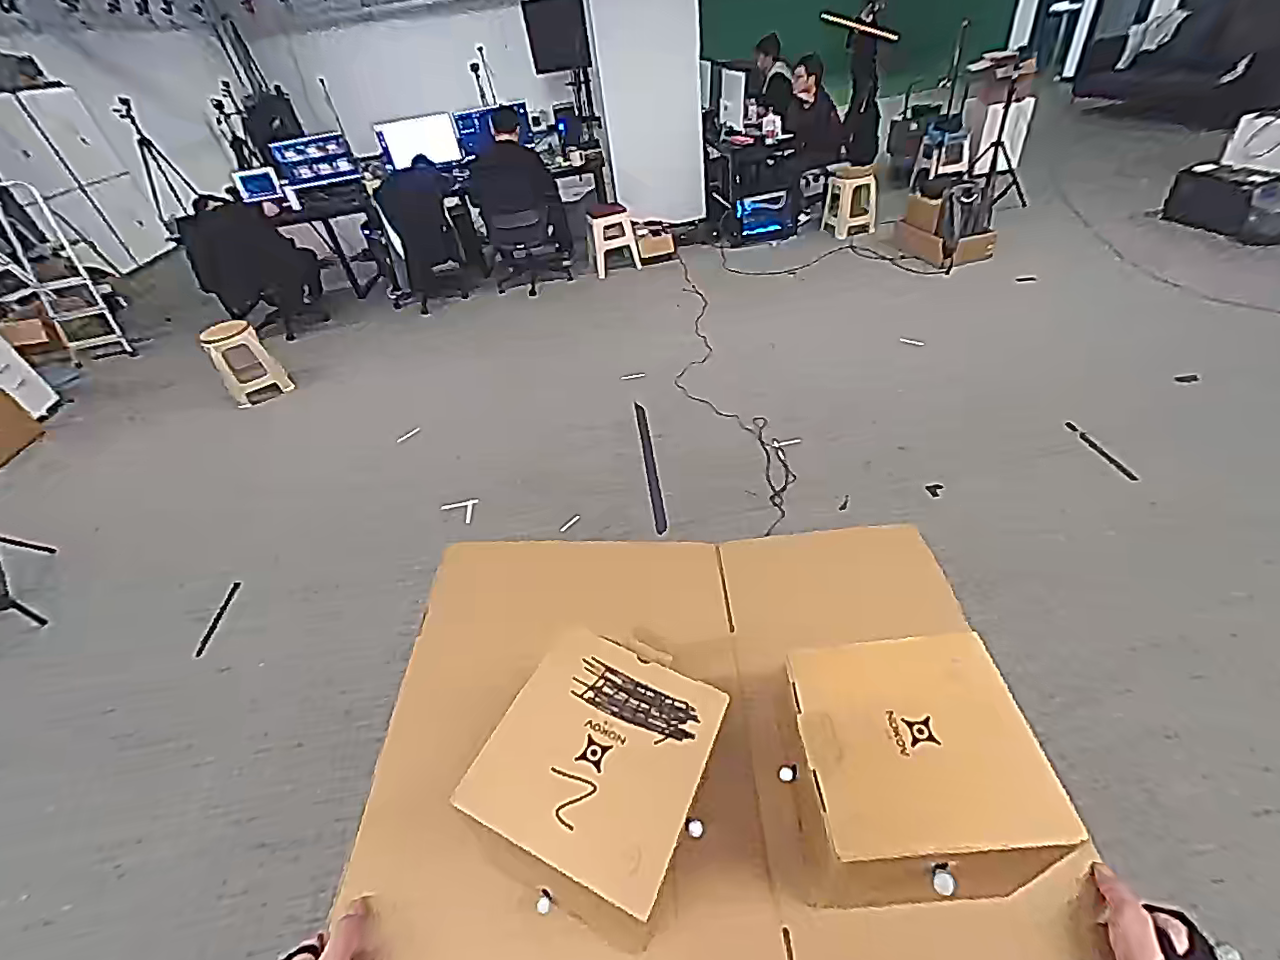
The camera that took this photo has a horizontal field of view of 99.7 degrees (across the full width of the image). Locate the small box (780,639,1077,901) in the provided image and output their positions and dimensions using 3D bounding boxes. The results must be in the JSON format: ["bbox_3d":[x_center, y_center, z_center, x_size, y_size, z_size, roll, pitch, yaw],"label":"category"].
[{"bbox_3d":[0.236,0.270,0.502,0.179,0.176,0.168,-7,42,4],"label":"small box"}]
